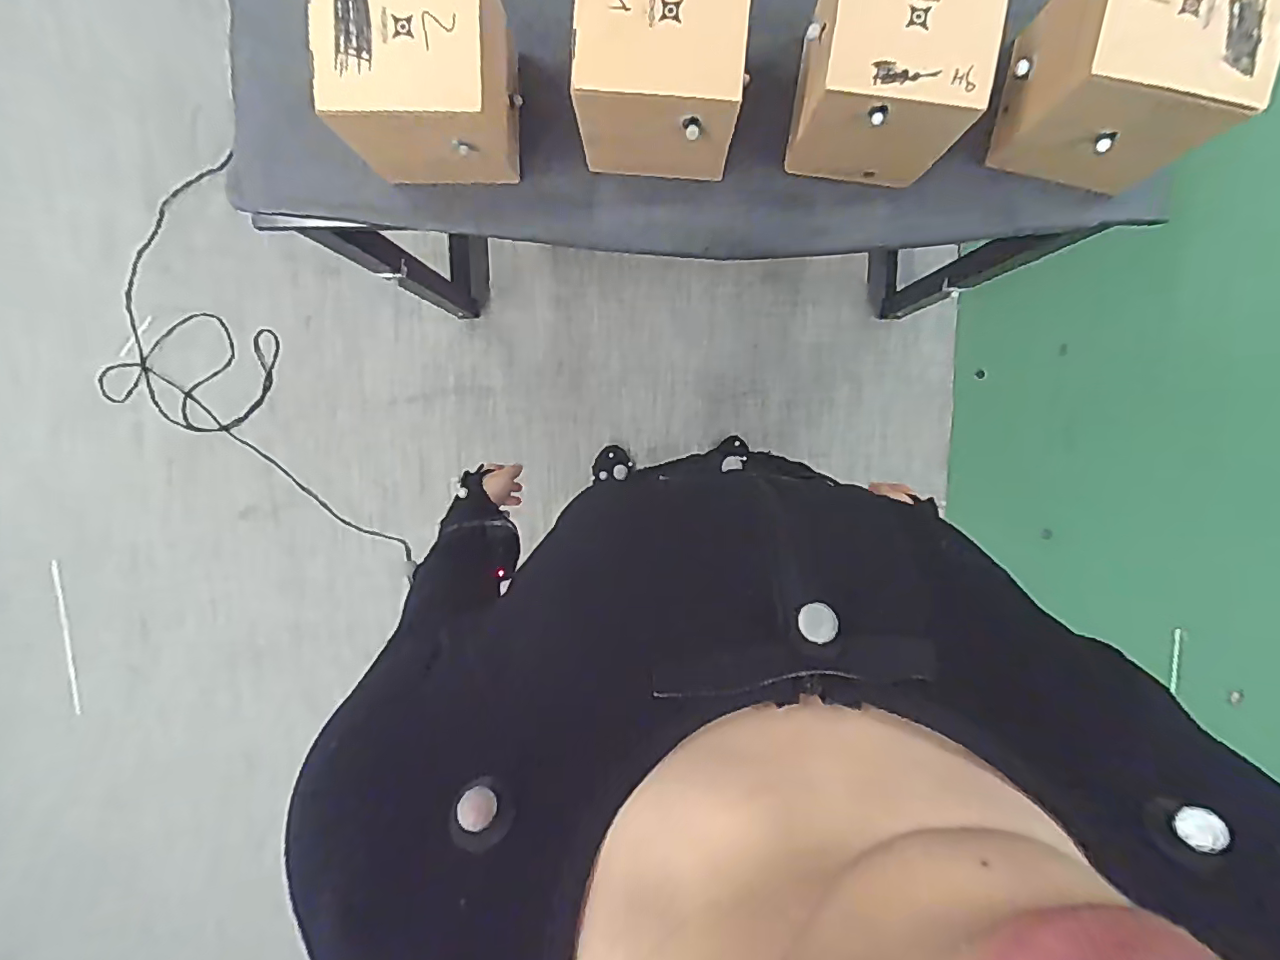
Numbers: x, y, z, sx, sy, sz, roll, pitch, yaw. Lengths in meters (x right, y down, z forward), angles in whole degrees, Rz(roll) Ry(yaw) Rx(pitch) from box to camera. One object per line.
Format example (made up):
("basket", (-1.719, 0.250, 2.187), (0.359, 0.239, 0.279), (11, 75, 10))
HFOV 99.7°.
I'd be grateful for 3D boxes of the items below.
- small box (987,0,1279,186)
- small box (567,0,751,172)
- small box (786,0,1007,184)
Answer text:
("small box", (0.535, -0.455, 0.596), (0.179, 0.176, 0.168), (14, 92, 1))
("small box", (0.023, -0.474, 0.612), (0.179, 0.176, 0.168), (5, 95, 2))
("small box", (0.274, -0.470, 0.606), (0.168, 0.176, 0.179), (9, 94, 0))
